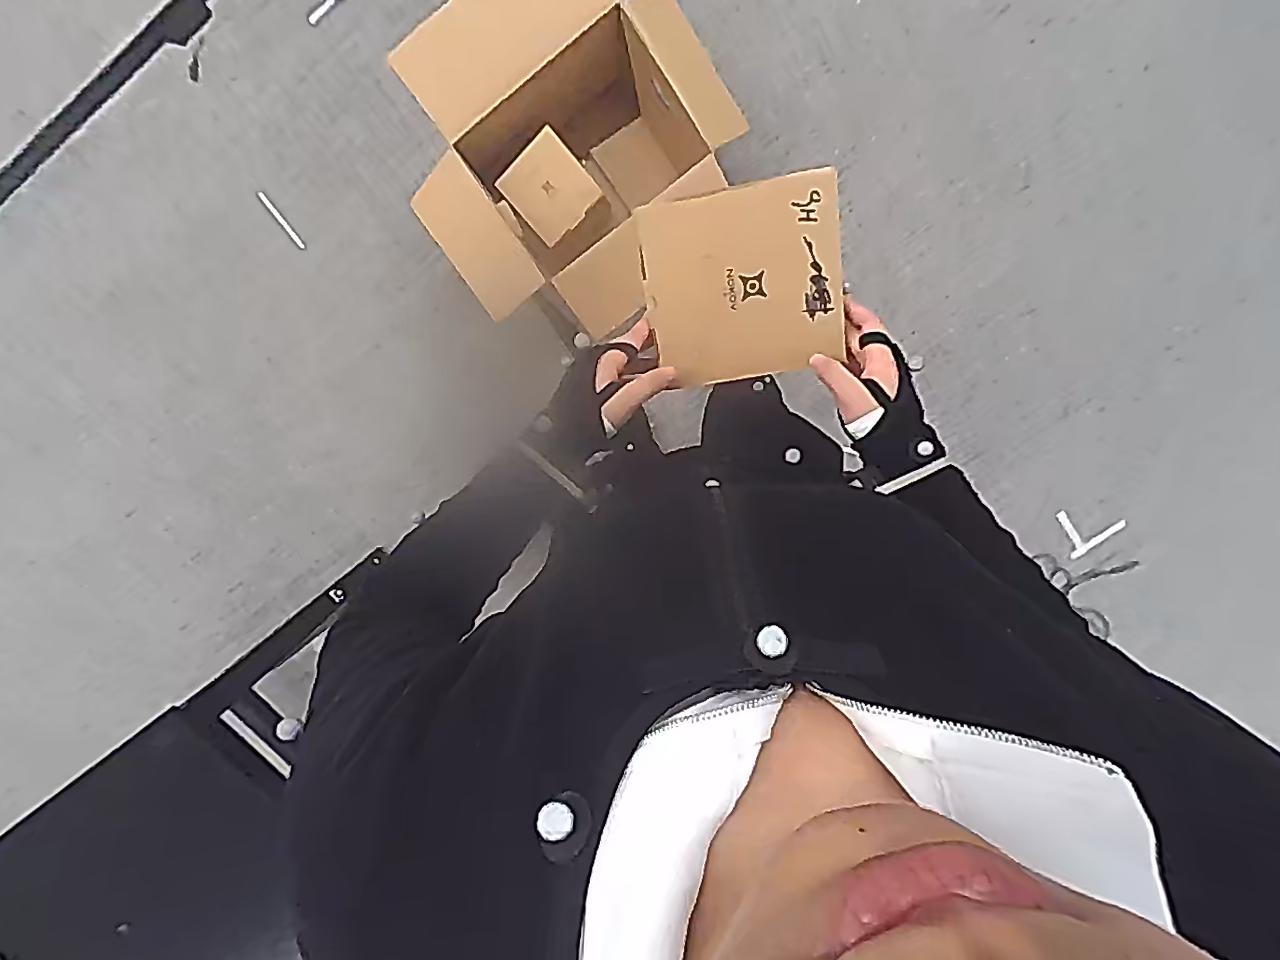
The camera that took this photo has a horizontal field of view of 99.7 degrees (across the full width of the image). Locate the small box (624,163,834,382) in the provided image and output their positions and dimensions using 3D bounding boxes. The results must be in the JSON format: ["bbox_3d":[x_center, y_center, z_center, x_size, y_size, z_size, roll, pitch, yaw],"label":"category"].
[{"bbox_3d":[0.092,-0.208,0.568,0.179,0.176,0.168,-8,109,8],"label":"small box"}]
